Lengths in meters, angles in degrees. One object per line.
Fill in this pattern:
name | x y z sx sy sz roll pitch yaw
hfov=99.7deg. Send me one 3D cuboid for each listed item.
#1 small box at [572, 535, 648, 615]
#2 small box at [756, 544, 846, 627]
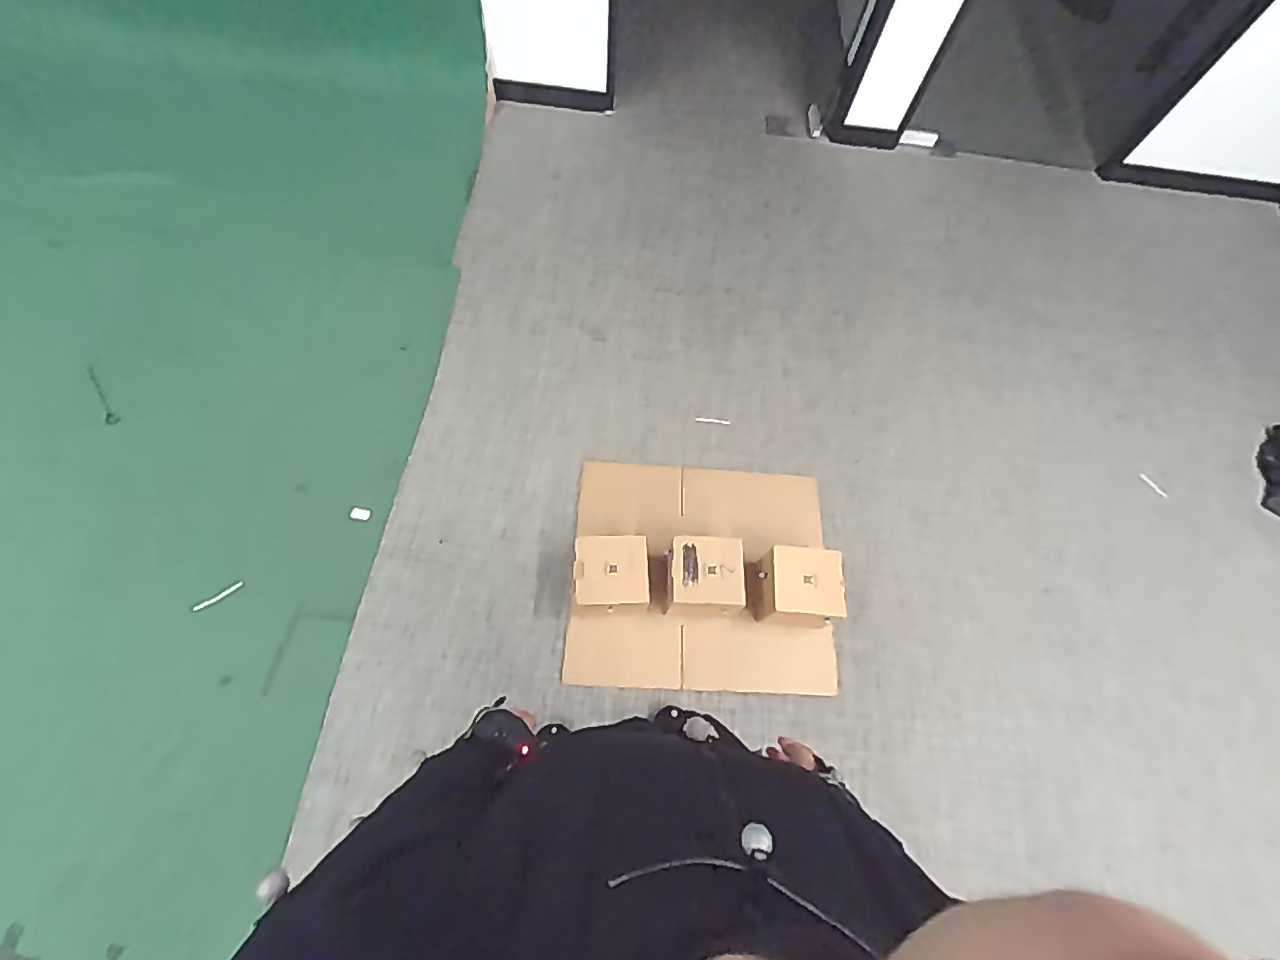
small box | -0.078 0.239 1.339 0.179 0.176 0.168 0 67 -7
small box | 0.396 0.272 1.367 0.179 0.176 0.168 6 65 -3
